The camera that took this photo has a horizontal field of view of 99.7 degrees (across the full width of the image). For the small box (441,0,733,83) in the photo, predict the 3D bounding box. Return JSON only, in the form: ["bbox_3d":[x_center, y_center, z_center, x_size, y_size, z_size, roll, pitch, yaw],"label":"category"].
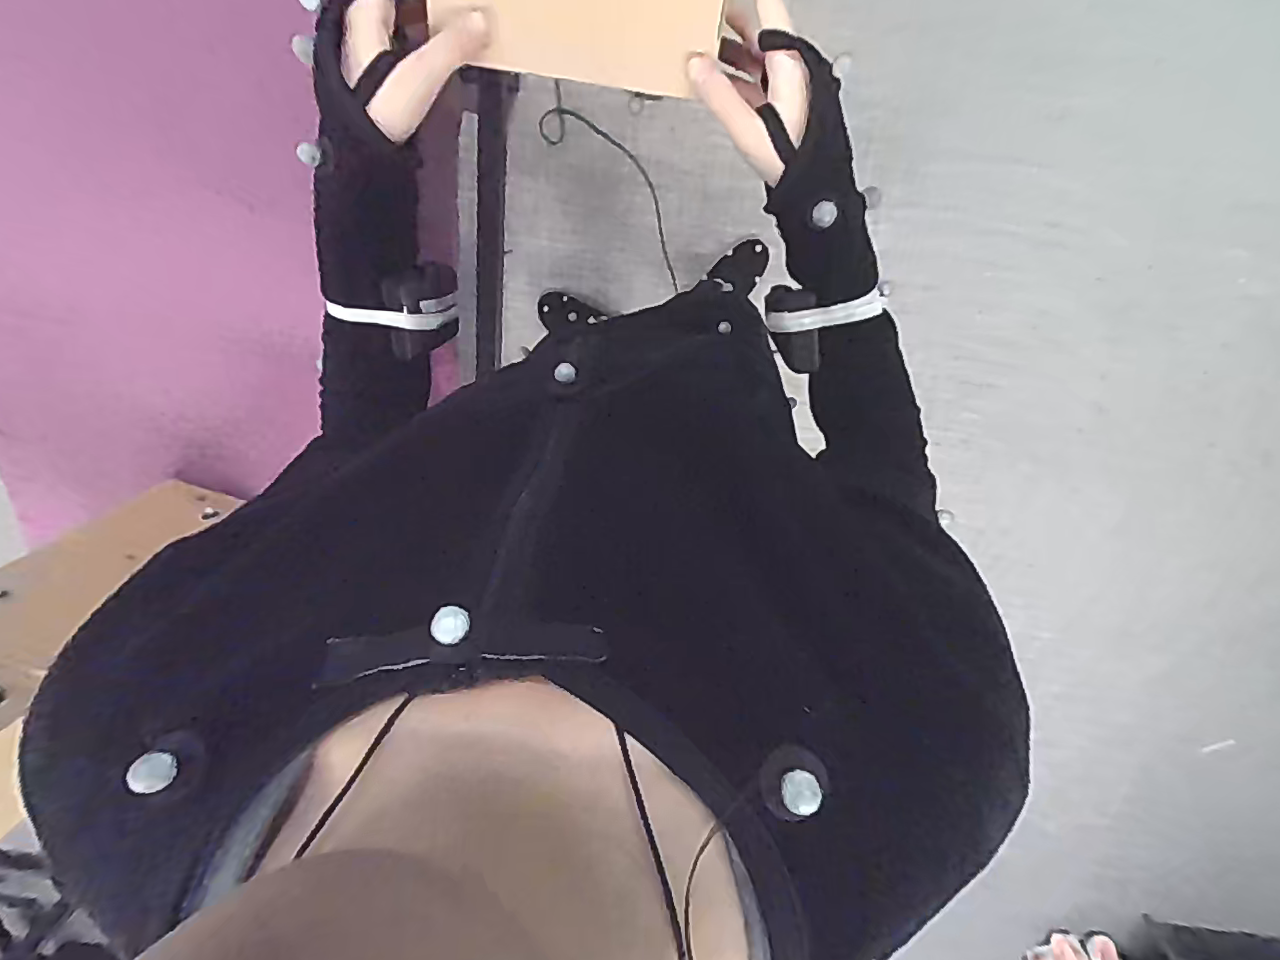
[{"bbox_3d":[-0.027,-0.379,0.356,0.179,0.176,0.168,5,126,-7],"label":"small box"}]
